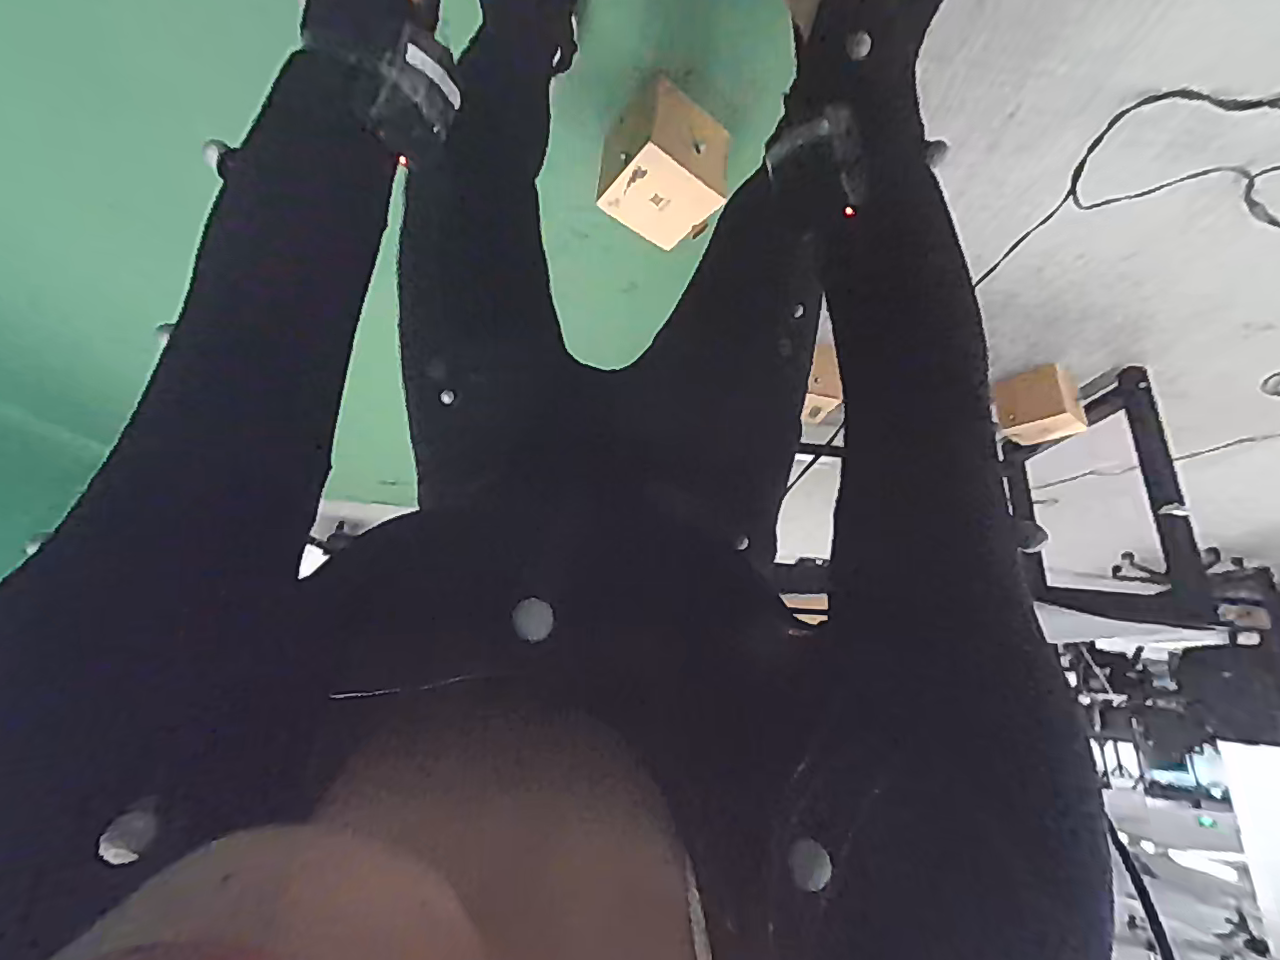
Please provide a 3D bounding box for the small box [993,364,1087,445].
[{"bbox_3d":[1.214,-0.229,1.650,0.168,0.176,0.179,17,157,-32],"label":"small box"}]

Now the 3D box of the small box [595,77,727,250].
[{"bbox_3d":[0.041,-0.562,0.971,0.179,0.176,0.168,17,157,-34],"label":"small box"}]

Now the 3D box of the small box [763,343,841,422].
[{"bbox_3d":[0.481,-0.291,1.619,0.179,0.176,0.168,7,159,-6],"label":"small box"}]
